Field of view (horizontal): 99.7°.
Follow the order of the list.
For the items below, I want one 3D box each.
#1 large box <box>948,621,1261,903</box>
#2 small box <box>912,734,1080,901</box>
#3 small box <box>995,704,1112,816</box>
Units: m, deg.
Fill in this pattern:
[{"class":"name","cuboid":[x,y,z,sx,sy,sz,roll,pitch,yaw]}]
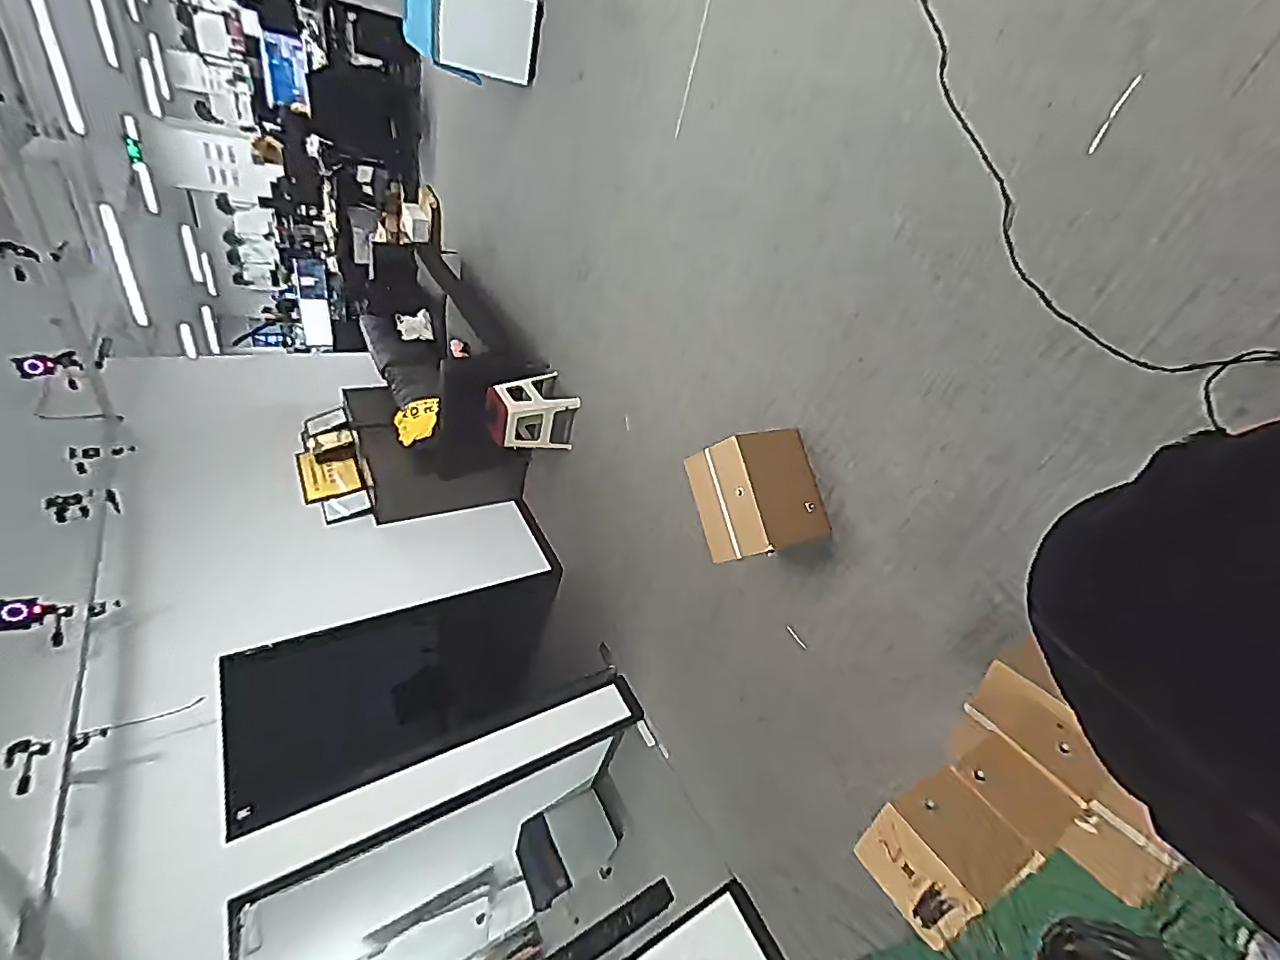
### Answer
[{"class":"large box","cuboid":[1.010,0.590,1.214,0.408,0.320,0.320,37,129,45]},{"class":"small box","cuboid":[0.659,0.615,1.004,0.179,0.176,0.168,46,134,42]},{"class":"small box","cuboid":[0.796,0.588,1.086,0.168,0.176,0.179,45,133,43]}]
